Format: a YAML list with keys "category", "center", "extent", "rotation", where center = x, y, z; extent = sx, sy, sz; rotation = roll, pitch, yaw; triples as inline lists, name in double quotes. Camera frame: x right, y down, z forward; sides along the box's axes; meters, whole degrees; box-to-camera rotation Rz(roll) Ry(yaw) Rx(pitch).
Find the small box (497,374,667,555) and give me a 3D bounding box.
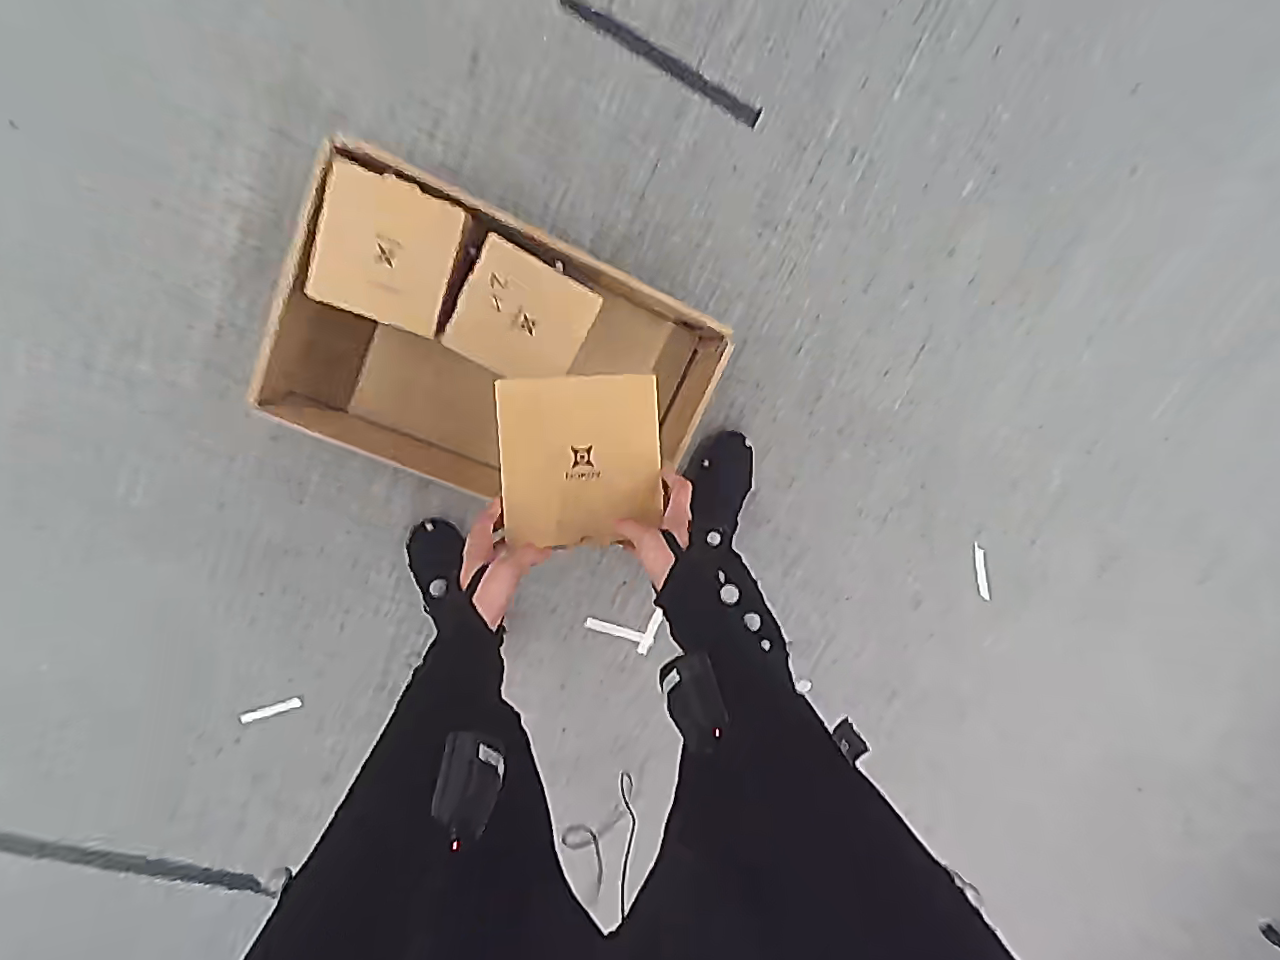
- category: "small box"
  center: [-0.069, -0.018, 0.619]
  extent: [0.168, 0.176, 0.179]
  rotation: [-4, 92, -8]
